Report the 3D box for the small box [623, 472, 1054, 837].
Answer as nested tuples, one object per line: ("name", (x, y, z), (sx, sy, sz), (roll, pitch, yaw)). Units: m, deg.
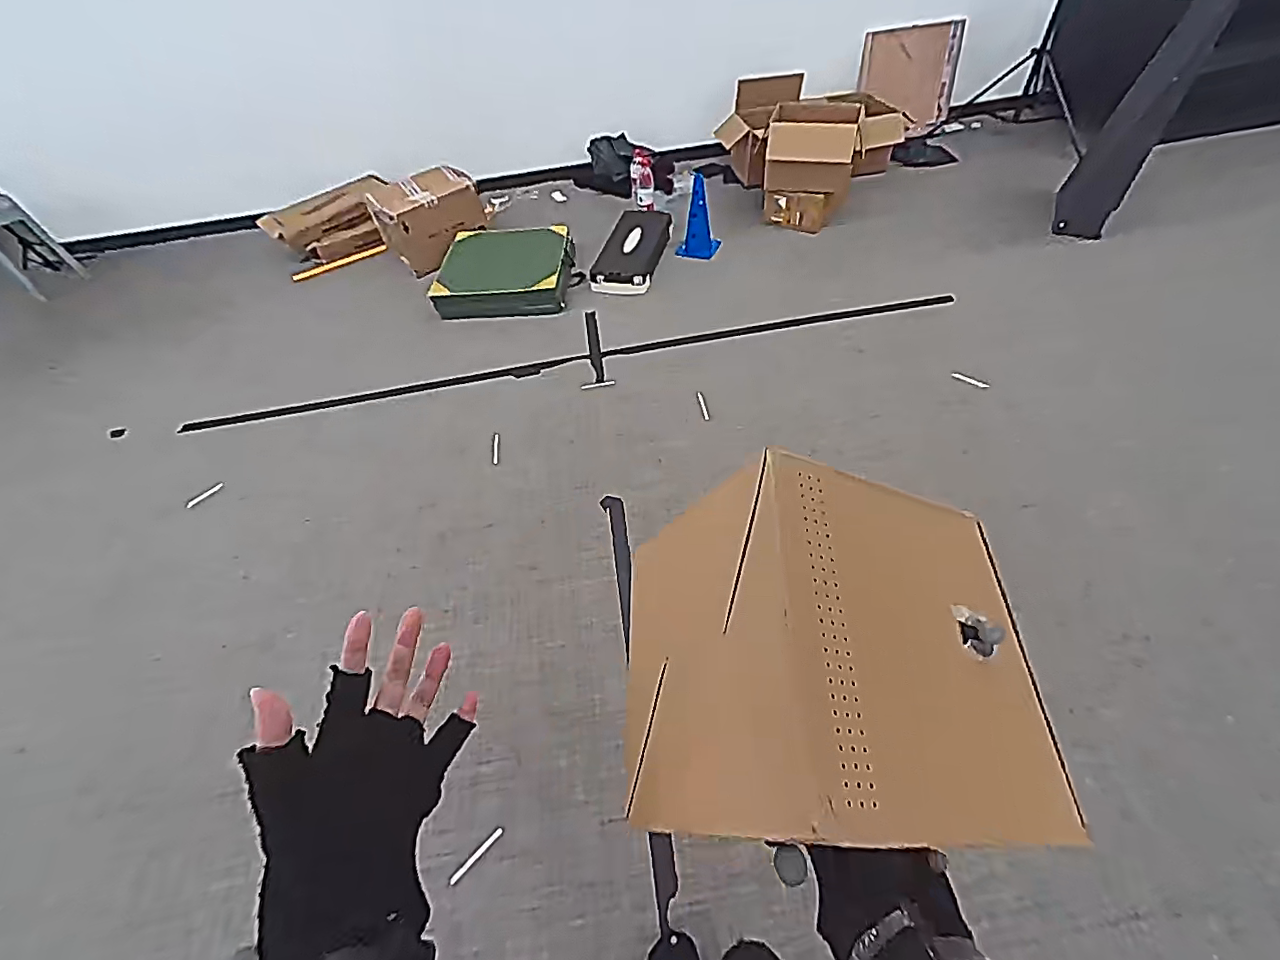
("small box", (0.096, 0.116, 0.340), (0.176, 0.168, 0.179), (15, 56, -20))
